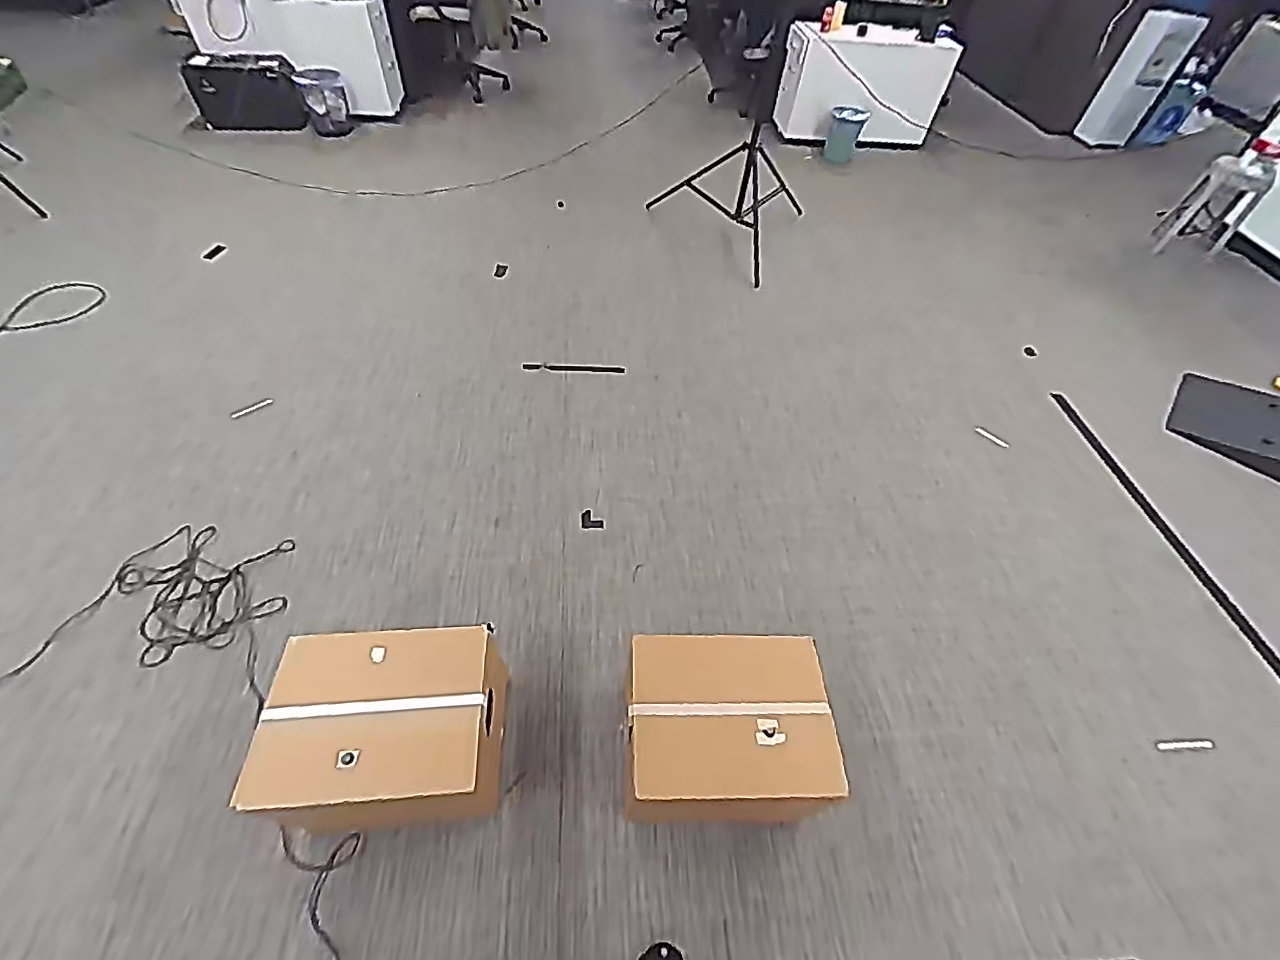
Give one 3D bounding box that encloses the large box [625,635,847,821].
[{"bbox_3d":[0.178,0.555,1.209,0.408,0.320,0.320,2,51,-5],"label":"large box"}]
